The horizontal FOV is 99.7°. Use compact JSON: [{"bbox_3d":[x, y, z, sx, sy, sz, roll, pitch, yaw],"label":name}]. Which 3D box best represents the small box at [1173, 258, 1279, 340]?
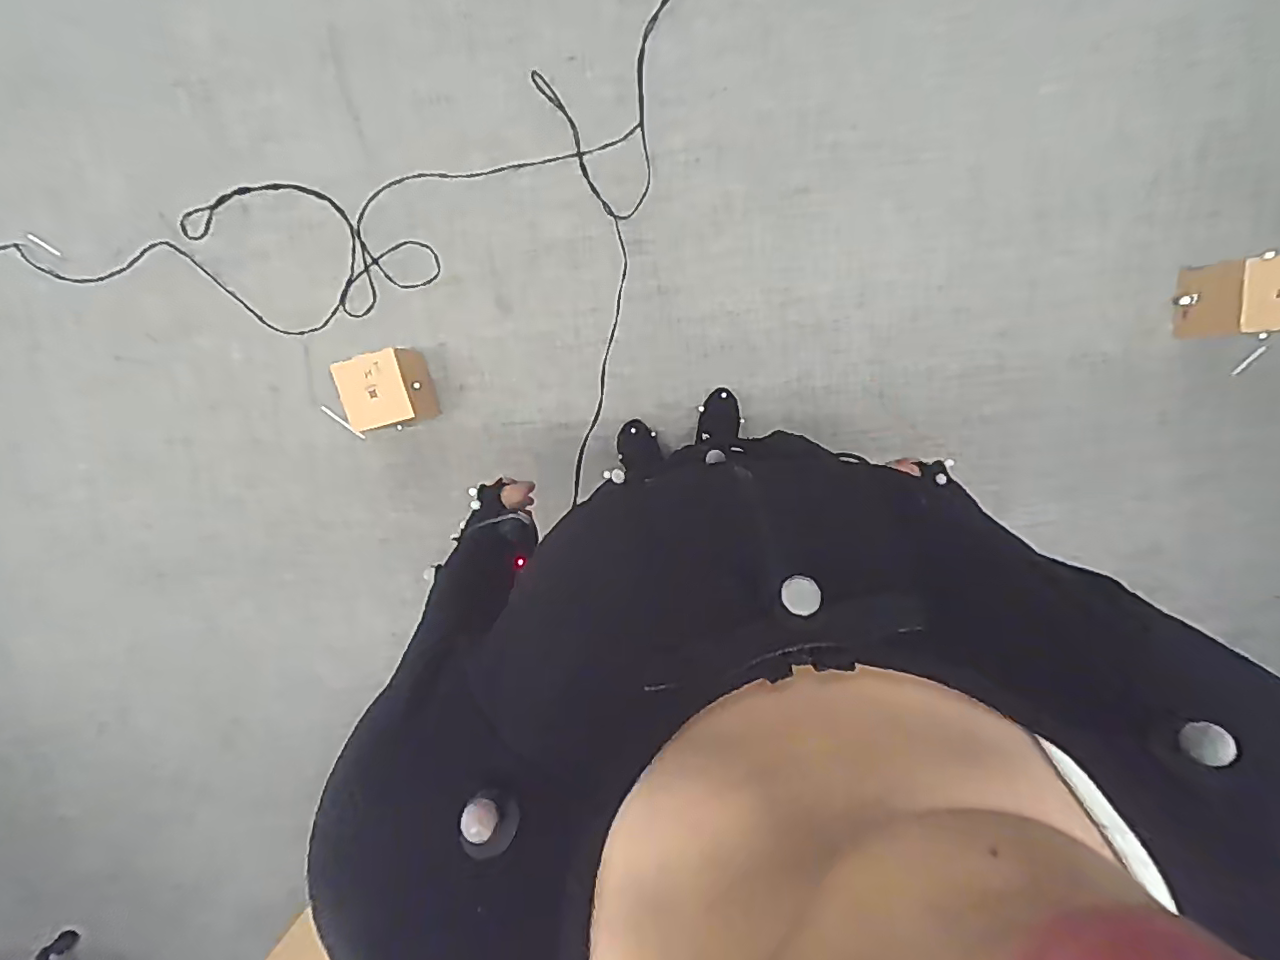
[{"bbox_3d":[1.461,-0.435,1.307,0.179,0.176,0.168,-5,99,3],"label":"small box"}]

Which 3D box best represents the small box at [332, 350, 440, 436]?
[{"bbox_3d":[-0.637,-0.223,1.382,0.168,0.176,0.179,-14,98,4],"label":"small box"}]
